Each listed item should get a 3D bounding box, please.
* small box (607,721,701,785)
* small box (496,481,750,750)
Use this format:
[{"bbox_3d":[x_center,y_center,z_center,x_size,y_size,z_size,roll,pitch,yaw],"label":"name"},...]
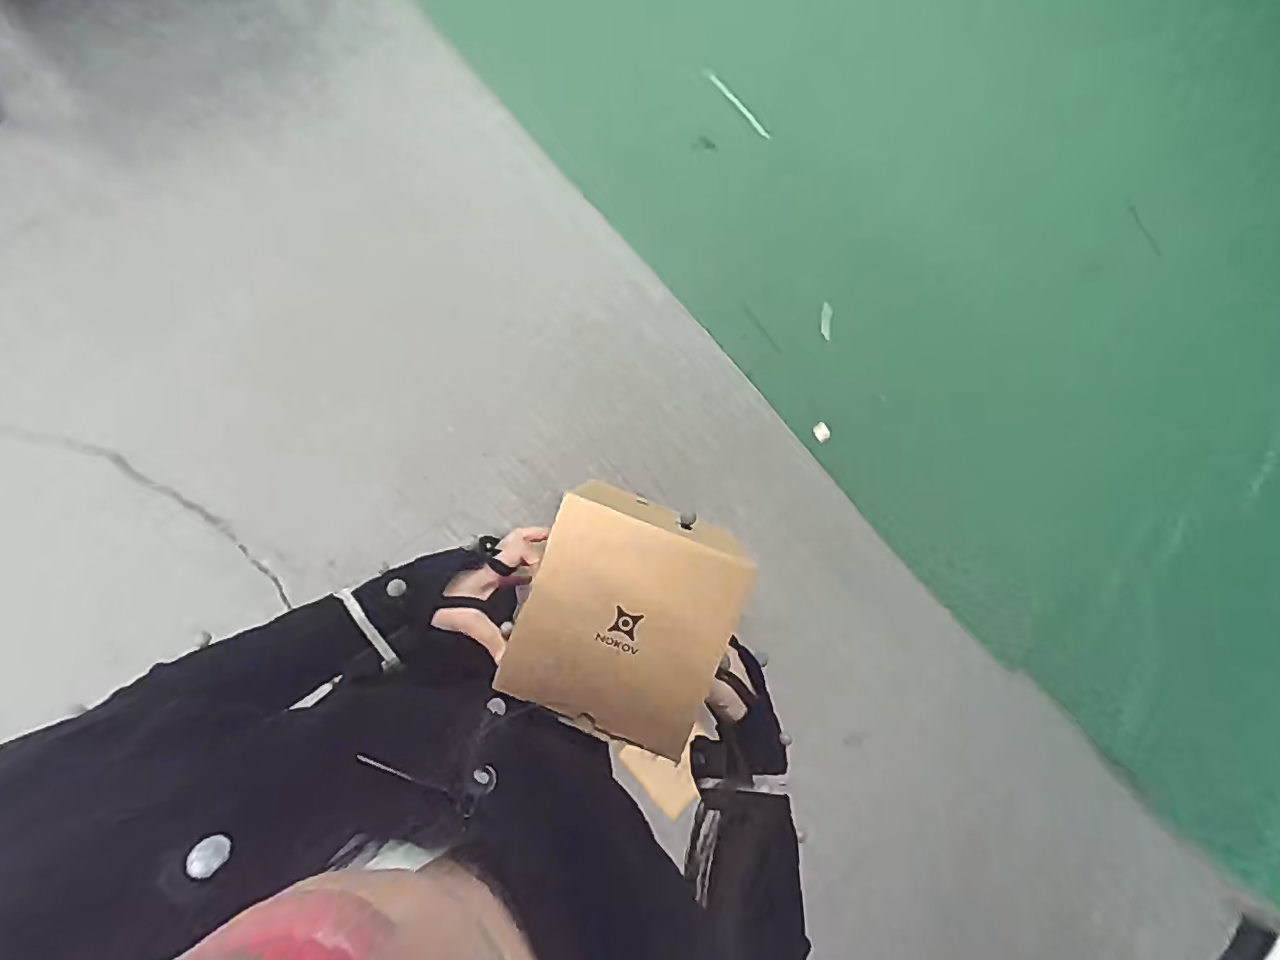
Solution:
[{"bbox_3d":[0.027,0.629,1.386,0.168,0.176,0.179,-38,86,-13],"label":"small box"},{"bbox_3d":[-0.015,0.110,0.520,0.168,0.176,0.179,20,96,-1],"label":"small box"}]
